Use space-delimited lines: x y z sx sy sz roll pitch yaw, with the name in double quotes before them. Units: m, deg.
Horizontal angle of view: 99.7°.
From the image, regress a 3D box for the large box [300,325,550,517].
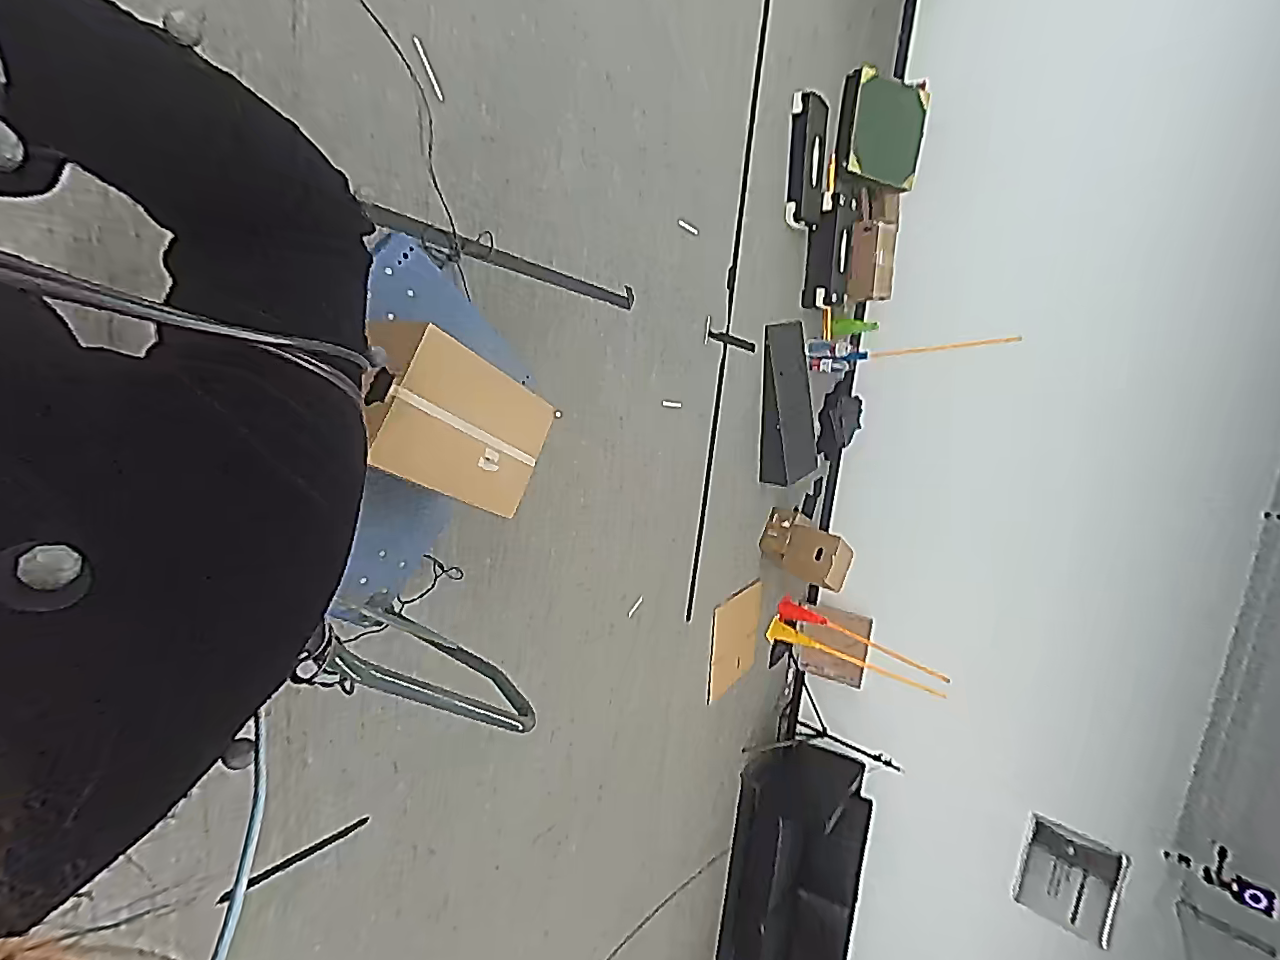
"large box" -0.502 -0.137 1.302 0.408 0.320 0.320 33 74 -52
